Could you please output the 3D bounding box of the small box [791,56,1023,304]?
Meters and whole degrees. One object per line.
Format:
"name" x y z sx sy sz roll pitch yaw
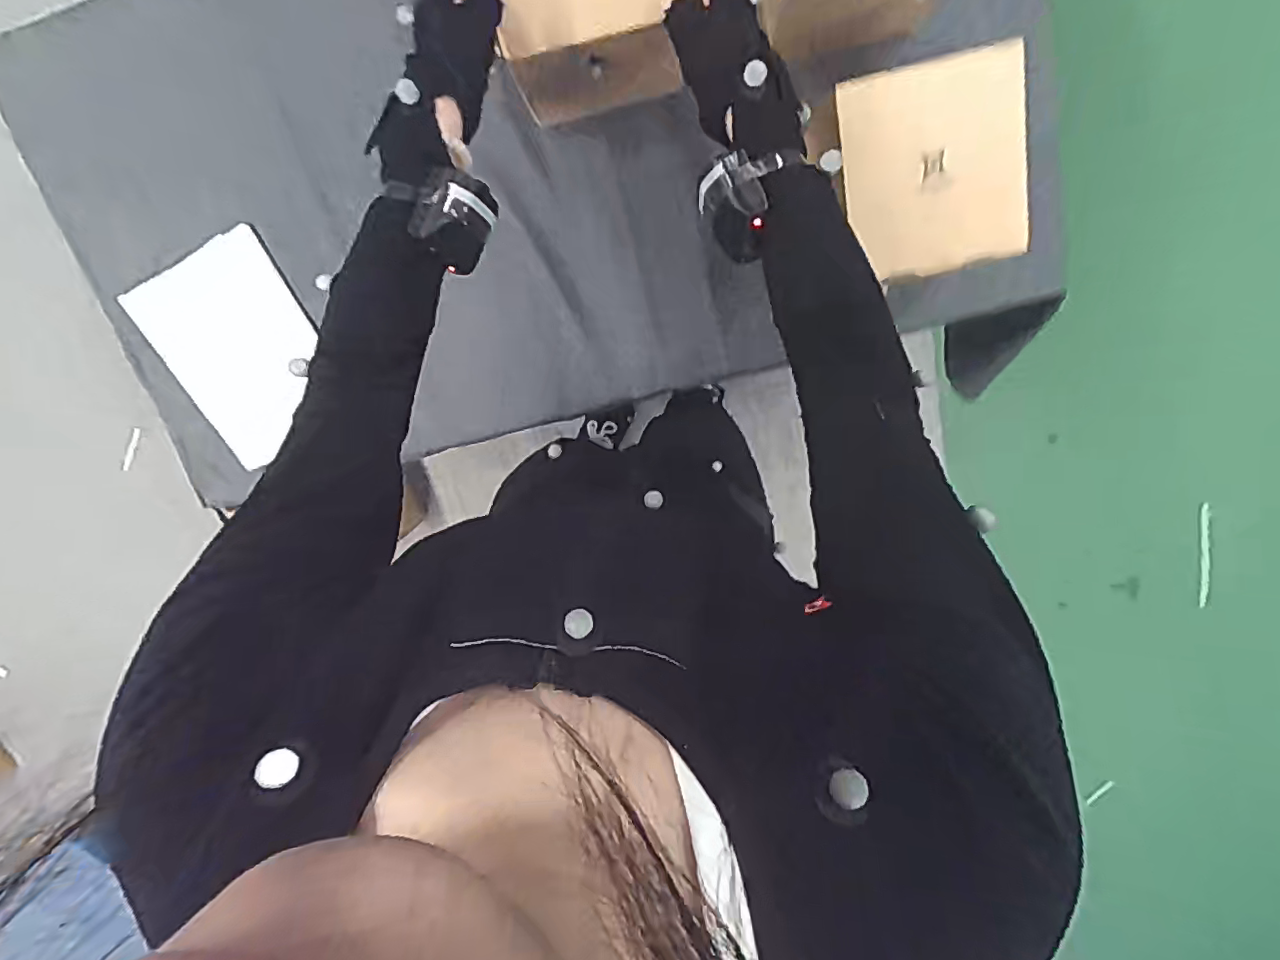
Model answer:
"small box" 0.269 -0.297 0.578 0.168 0.176 0.179 -11 104 4
